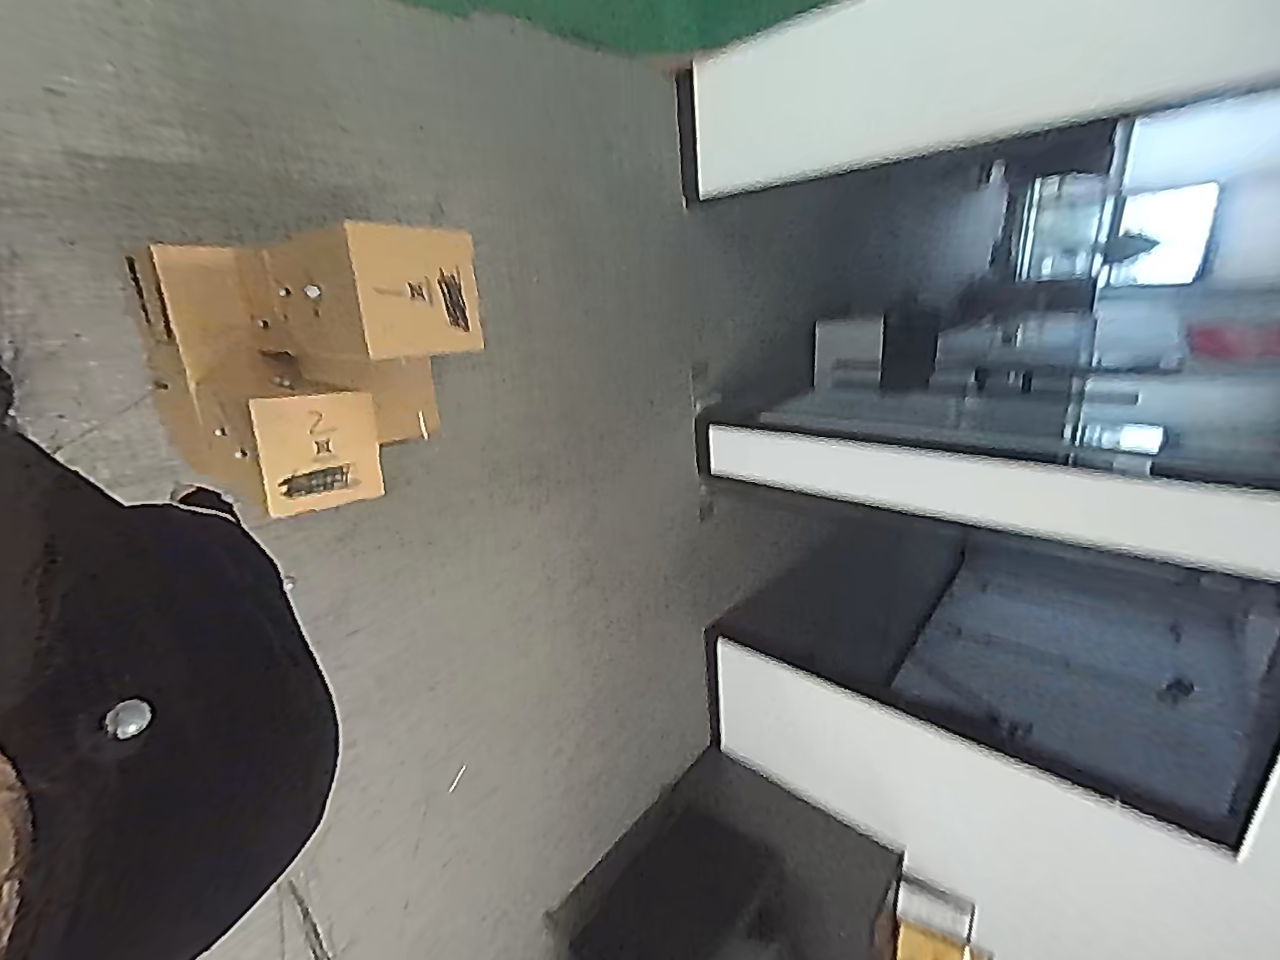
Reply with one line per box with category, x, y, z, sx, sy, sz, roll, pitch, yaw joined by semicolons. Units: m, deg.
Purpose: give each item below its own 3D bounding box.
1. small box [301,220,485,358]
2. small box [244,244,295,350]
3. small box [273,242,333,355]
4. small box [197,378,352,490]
small box;-0.352;-0.268;0.780;0.179;0.176;0.168;-20;114;-45
small box;-0.595;-0.328;0.992;0.179;0.176;0.168;-21;115;-47
small box;-0.468;-0.298;0.892;0.179;0.176;0.168;-20;114;-45
small box;-0.655;-0.092;0.975;0.179;0.176;0.168;-19;114;-48
